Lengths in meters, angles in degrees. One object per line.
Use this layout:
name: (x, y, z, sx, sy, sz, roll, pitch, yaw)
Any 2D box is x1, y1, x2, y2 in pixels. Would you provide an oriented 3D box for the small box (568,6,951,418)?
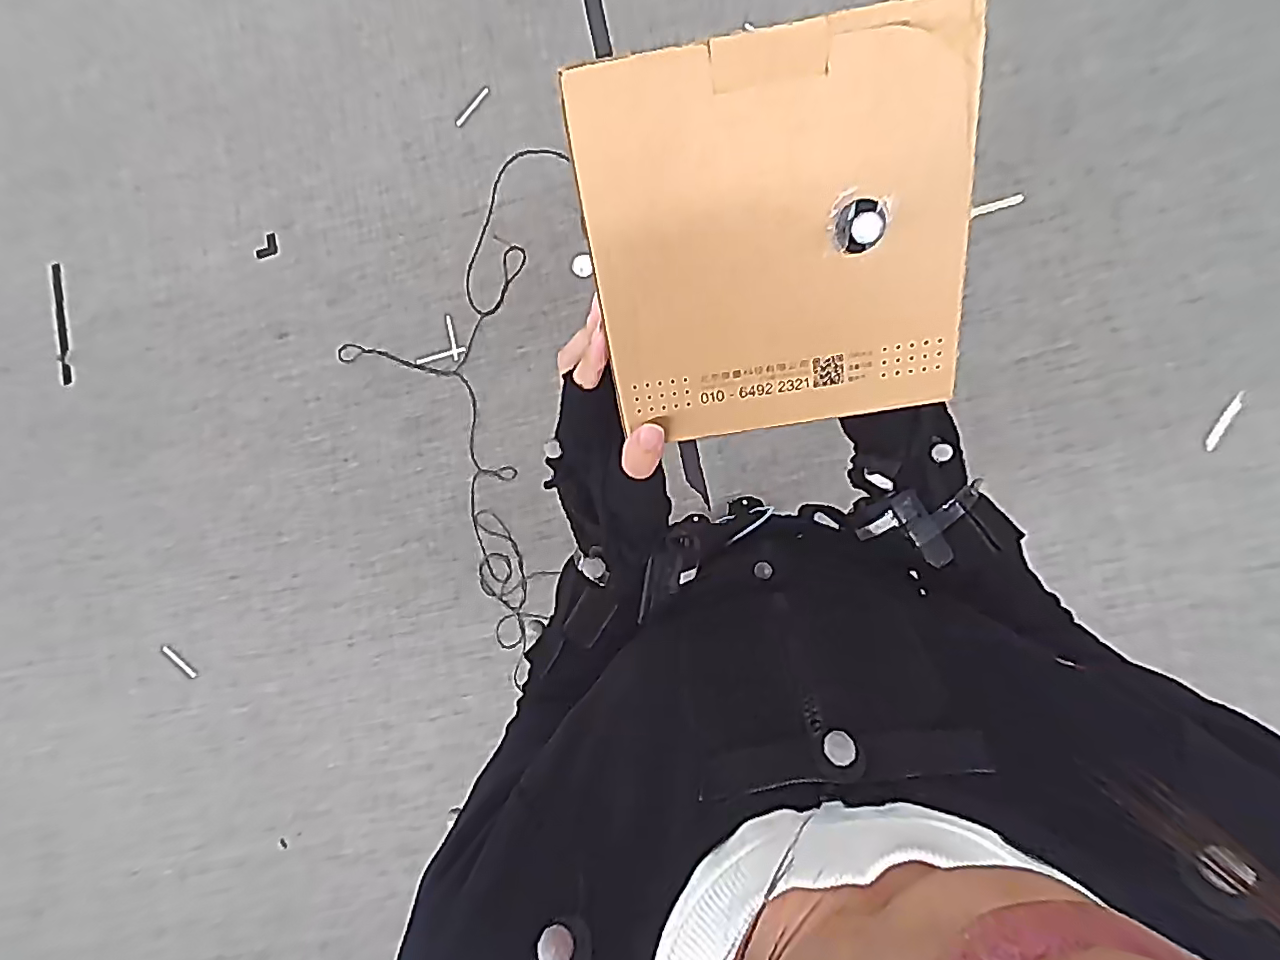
small box: (0.065, -0.143, 0.335, 0.168, 0.179, 0.176, -7, 116, 6)
